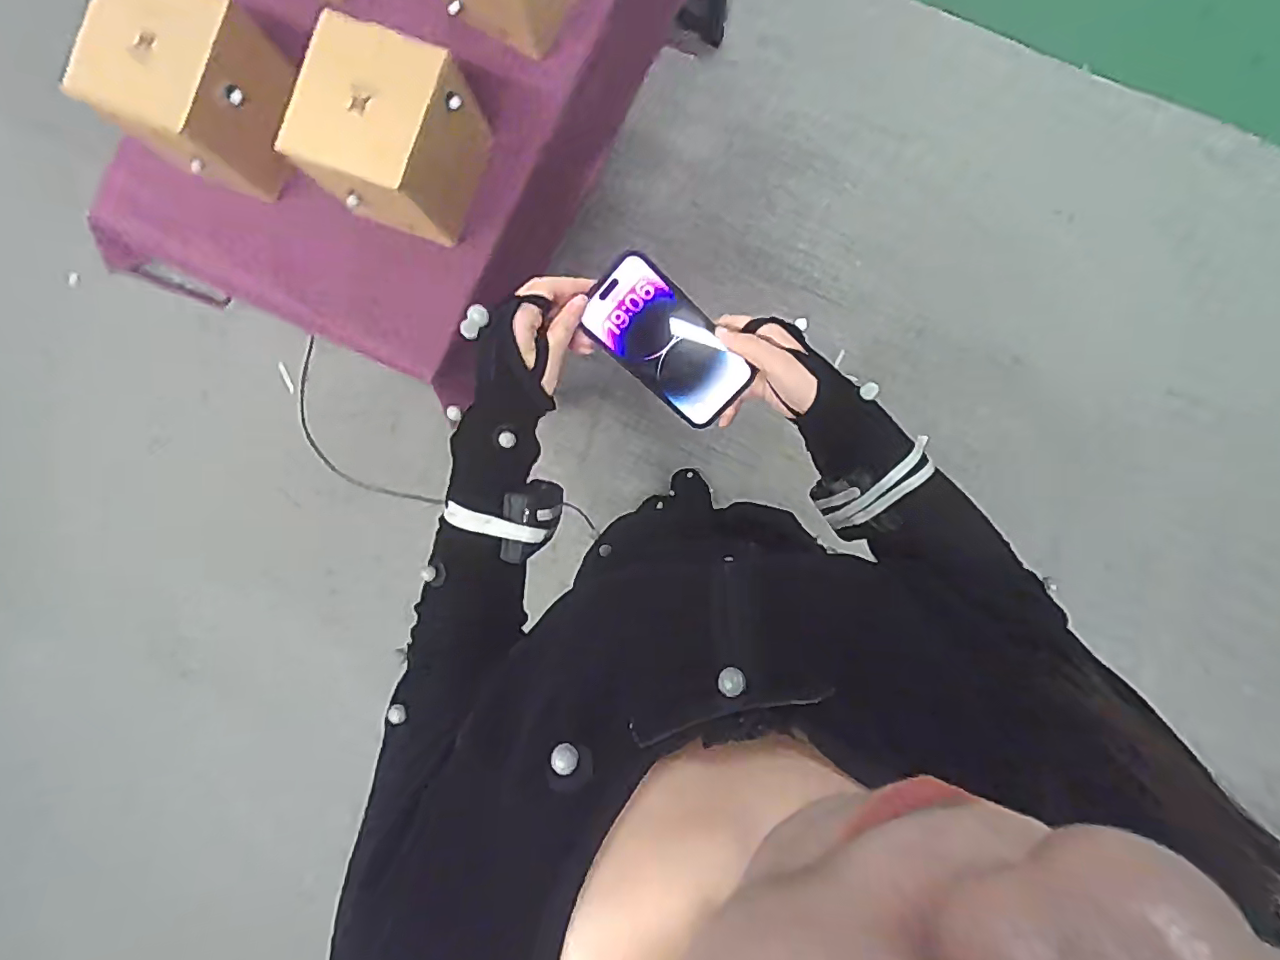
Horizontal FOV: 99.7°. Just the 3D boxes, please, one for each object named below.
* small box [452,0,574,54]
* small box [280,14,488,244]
[{"bbox_3d":[-0.176,-0.725,0.709,0.168,0.176,0.179,32,91,3],"label":"small box"},{"bbox_3d":[-0.324,-0.449,0.722,0.168,0.176,0.179,20,90,3],"label":"small box"}]
